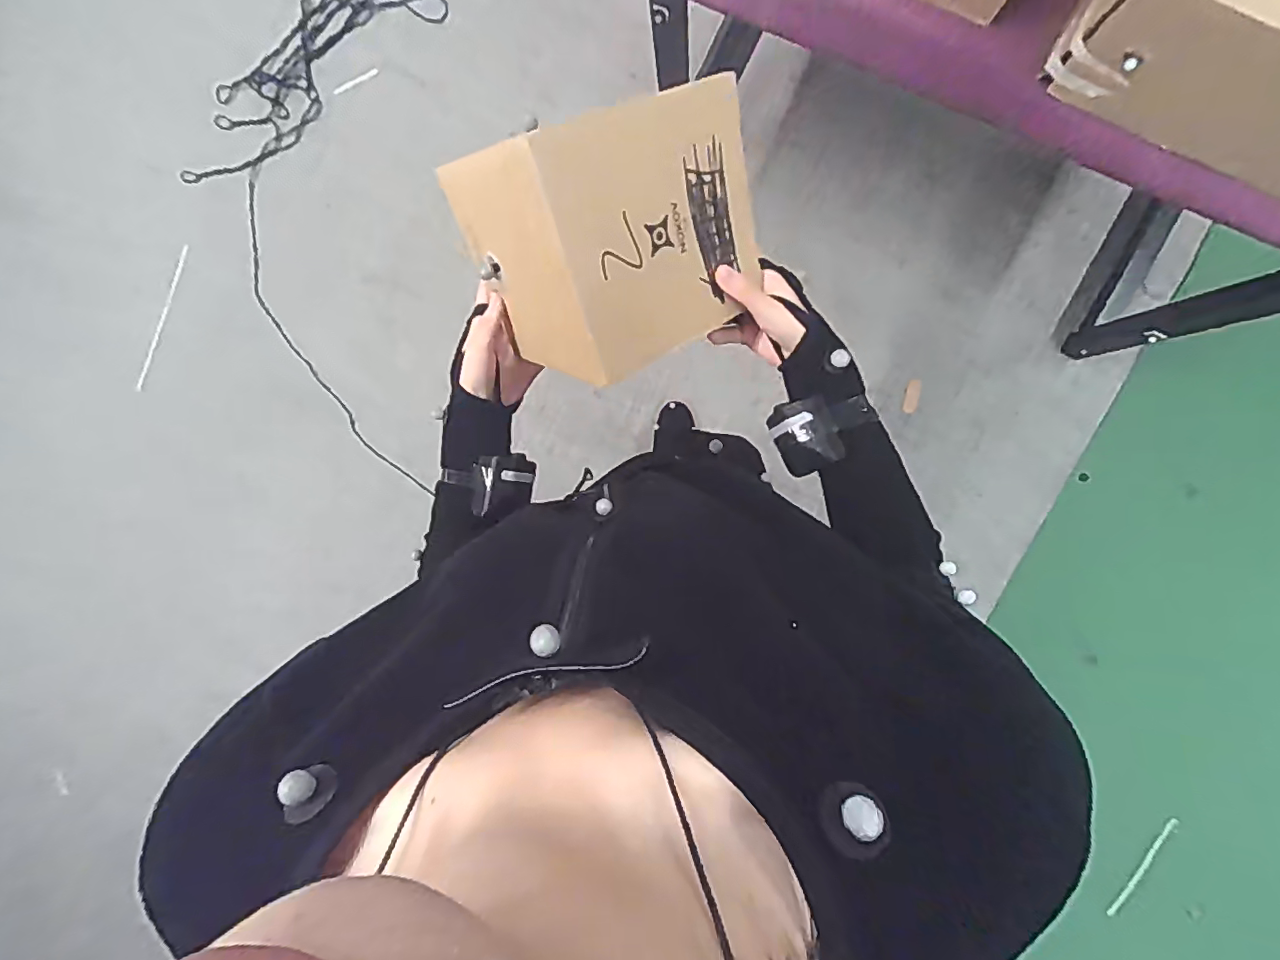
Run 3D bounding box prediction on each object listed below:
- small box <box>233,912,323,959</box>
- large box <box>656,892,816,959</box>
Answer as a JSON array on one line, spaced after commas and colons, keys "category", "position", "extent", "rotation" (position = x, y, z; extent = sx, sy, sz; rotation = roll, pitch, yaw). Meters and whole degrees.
[{"category": "small box", "position": [-0.903, 1.196, 1.280], "extent": [0.168, 0.176, 0.179], "rotation": [45, 98, 2]}, {"category": "large box", "position": [0.241, 1.383, 1.416], "extent": [0.408, 0.320, 0.320], "rotation": [12, 95, 4]}]
